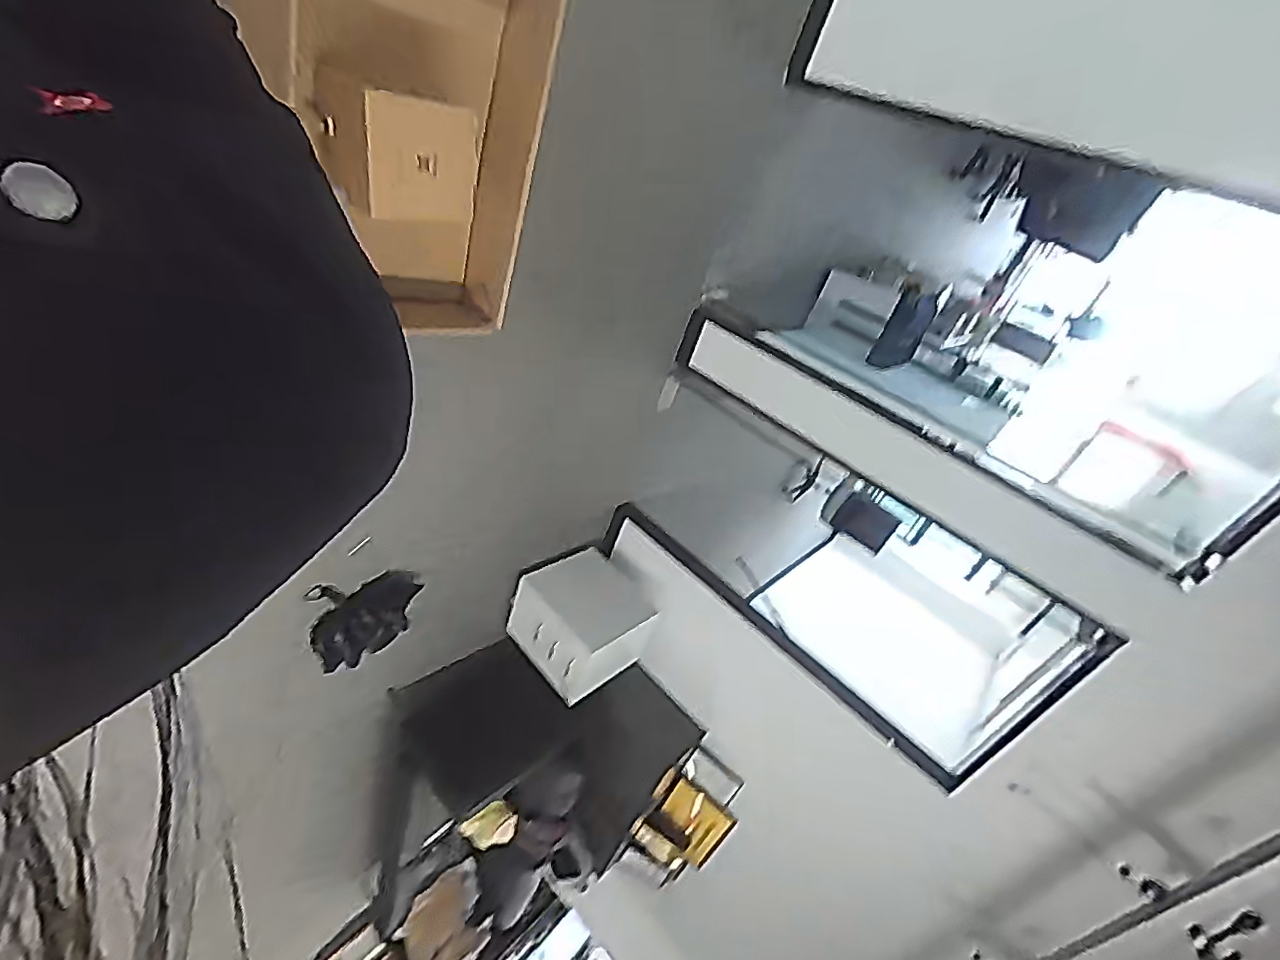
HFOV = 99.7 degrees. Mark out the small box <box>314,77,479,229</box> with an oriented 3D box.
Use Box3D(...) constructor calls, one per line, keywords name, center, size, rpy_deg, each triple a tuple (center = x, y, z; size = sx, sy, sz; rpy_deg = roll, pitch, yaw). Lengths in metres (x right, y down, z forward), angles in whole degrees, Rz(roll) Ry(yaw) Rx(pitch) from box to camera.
Box3D(name="small box", center=(-0.381, -0.510, 0.853), size=(0.179, 0.176, 0.168), rpy_deg=(-23, 139, -43))
